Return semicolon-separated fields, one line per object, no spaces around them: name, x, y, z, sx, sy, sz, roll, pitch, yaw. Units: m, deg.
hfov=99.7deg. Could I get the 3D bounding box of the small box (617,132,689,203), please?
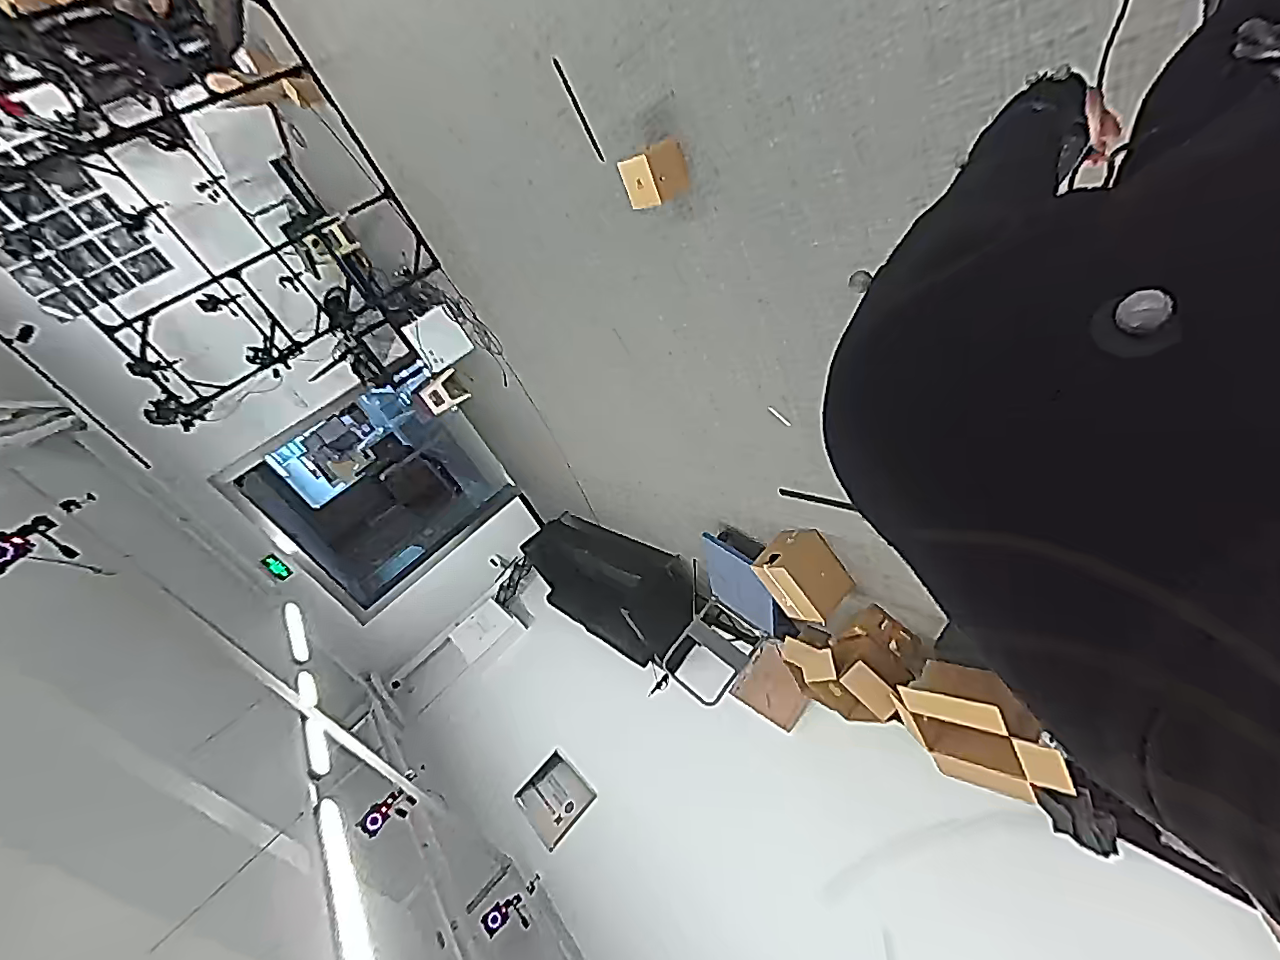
small box;0.051;-1.163;2.009;0.168;0.176;0.179;21;148;47
